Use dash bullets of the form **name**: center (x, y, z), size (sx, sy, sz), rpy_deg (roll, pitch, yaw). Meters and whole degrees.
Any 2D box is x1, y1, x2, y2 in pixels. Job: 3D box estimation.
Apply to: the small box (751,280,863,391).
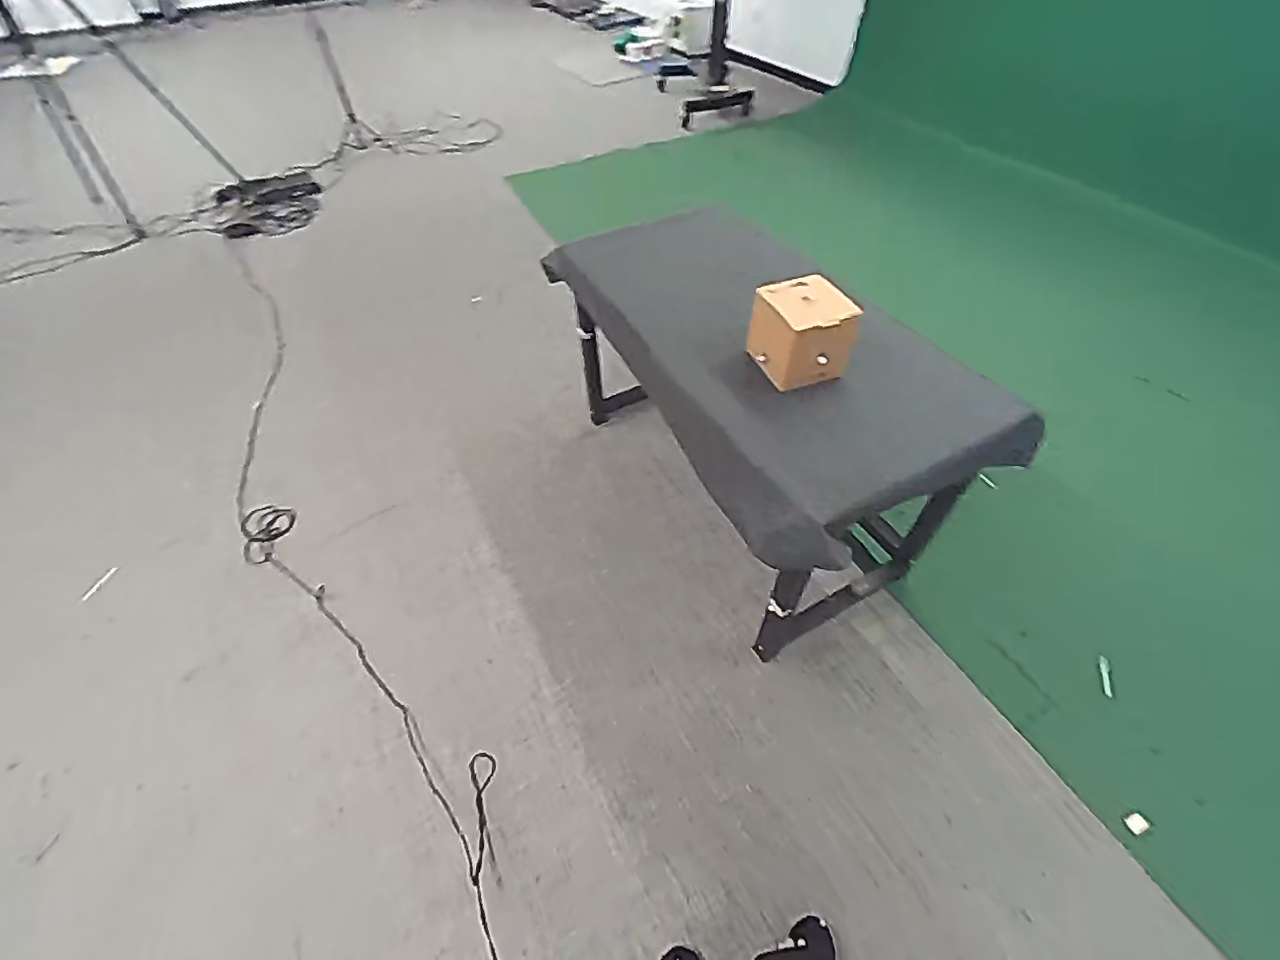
- **small box**: center (0.371, -0.323, 1.237), size (0.168, 0.176, 0.179), rpy_deg (-16, 52, -12)
